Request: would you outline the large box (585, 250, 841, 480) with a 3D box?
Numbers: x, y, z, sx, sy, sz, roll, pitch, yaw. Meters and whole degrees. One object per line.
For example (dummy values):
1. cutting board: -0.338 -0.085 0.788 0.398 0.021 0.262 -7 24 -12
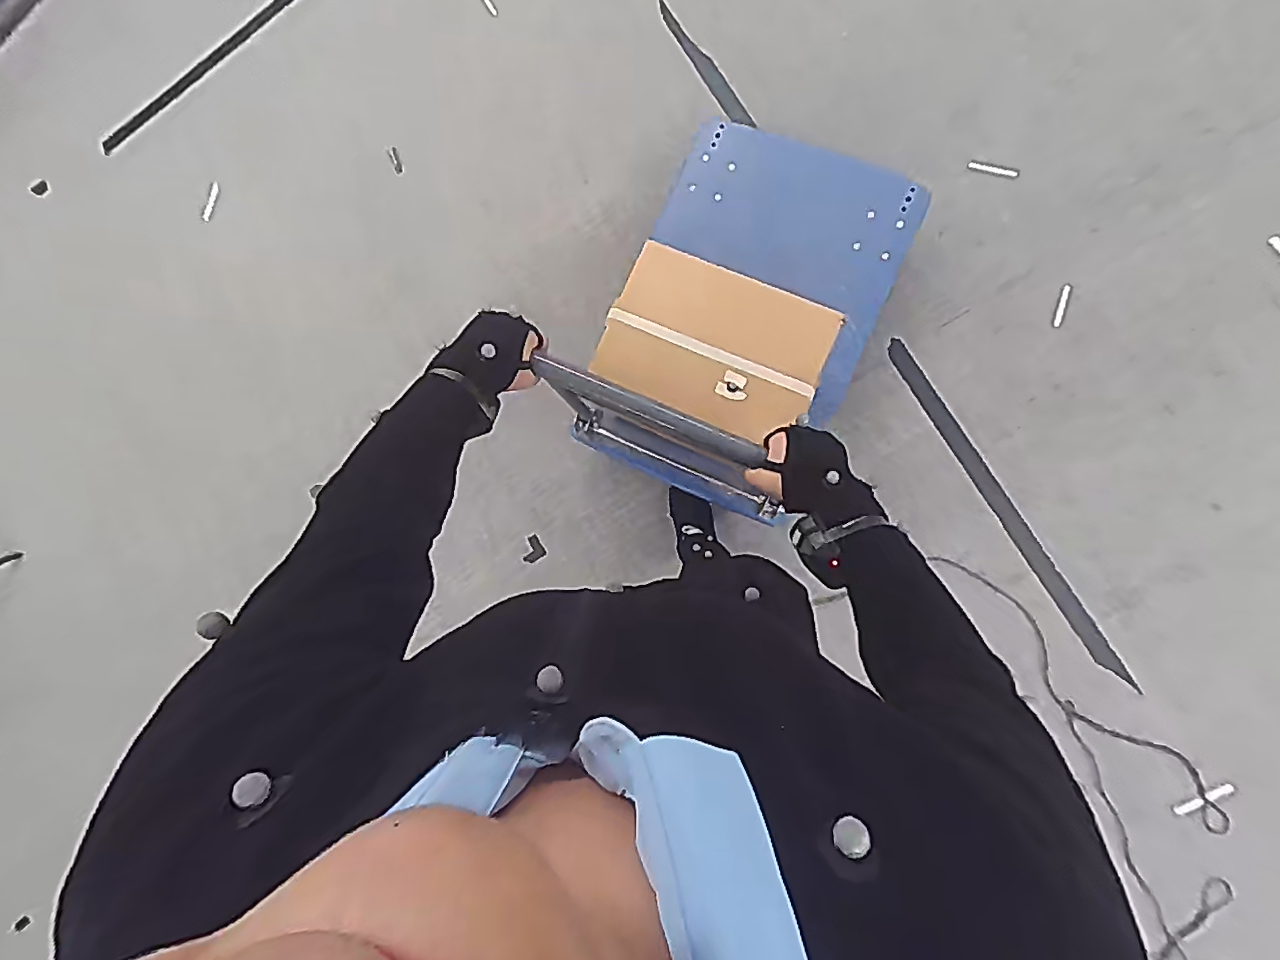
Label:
1. large box: 0.146 -0.222 1.163 0.408 0.320 0.320 24 91 7
